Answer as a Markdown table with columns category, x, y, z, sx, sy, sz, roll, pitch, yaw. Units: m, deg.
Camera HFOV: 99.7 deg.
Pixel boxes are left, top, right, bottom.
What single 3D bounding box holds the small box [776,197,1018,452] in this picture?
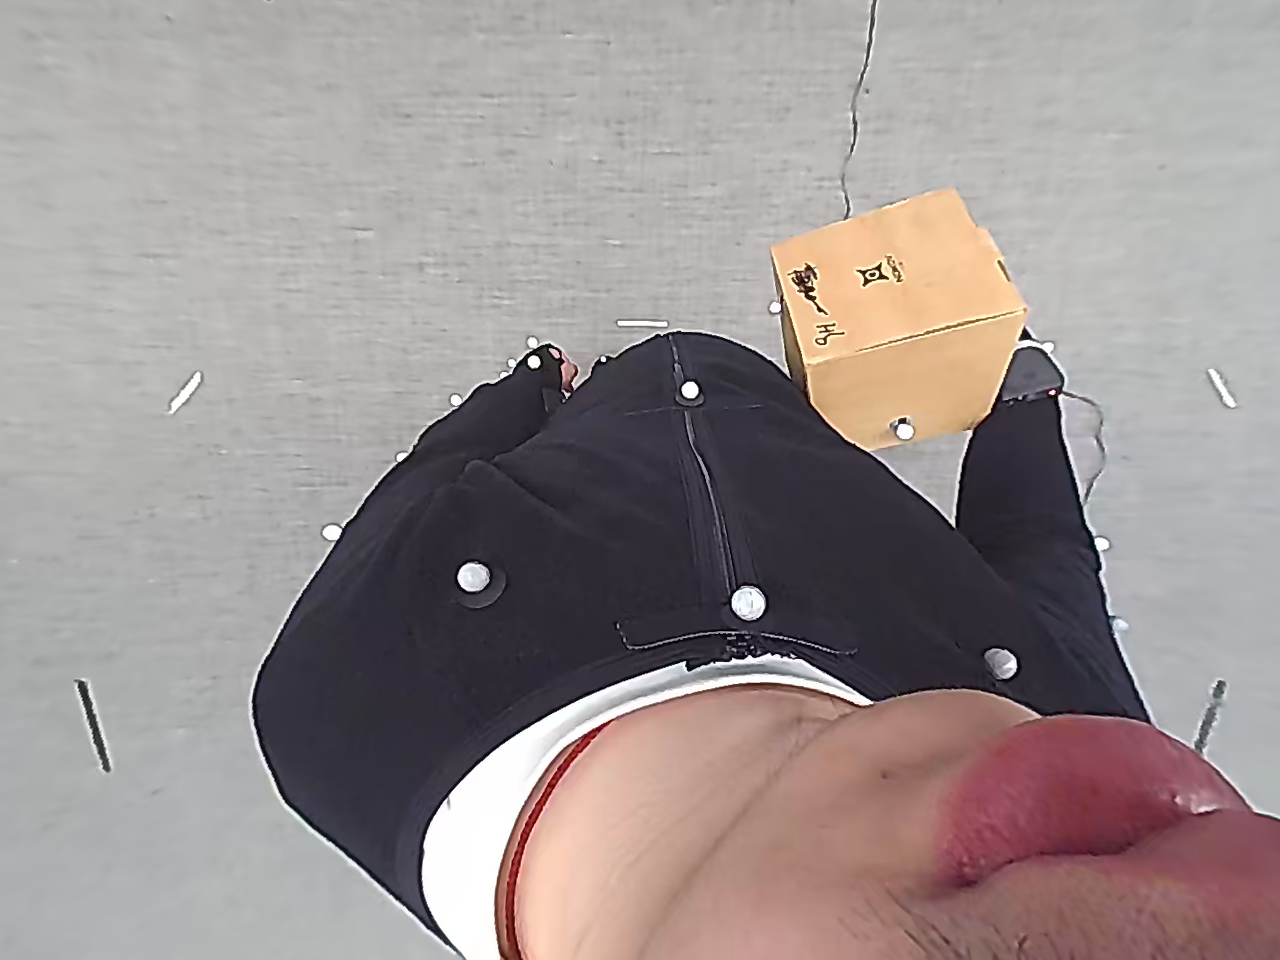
| category | x | y | z | sx | sy | sz | roll | pitch | yaw |
| --- | --- | --- | --- | --- | --- | --- | --- | --- | --- |
| small box | 0.251 | -0.152 | 0.572 | 0.179 | 0.168 | 0.176 | -12 | 147 | 14 |
